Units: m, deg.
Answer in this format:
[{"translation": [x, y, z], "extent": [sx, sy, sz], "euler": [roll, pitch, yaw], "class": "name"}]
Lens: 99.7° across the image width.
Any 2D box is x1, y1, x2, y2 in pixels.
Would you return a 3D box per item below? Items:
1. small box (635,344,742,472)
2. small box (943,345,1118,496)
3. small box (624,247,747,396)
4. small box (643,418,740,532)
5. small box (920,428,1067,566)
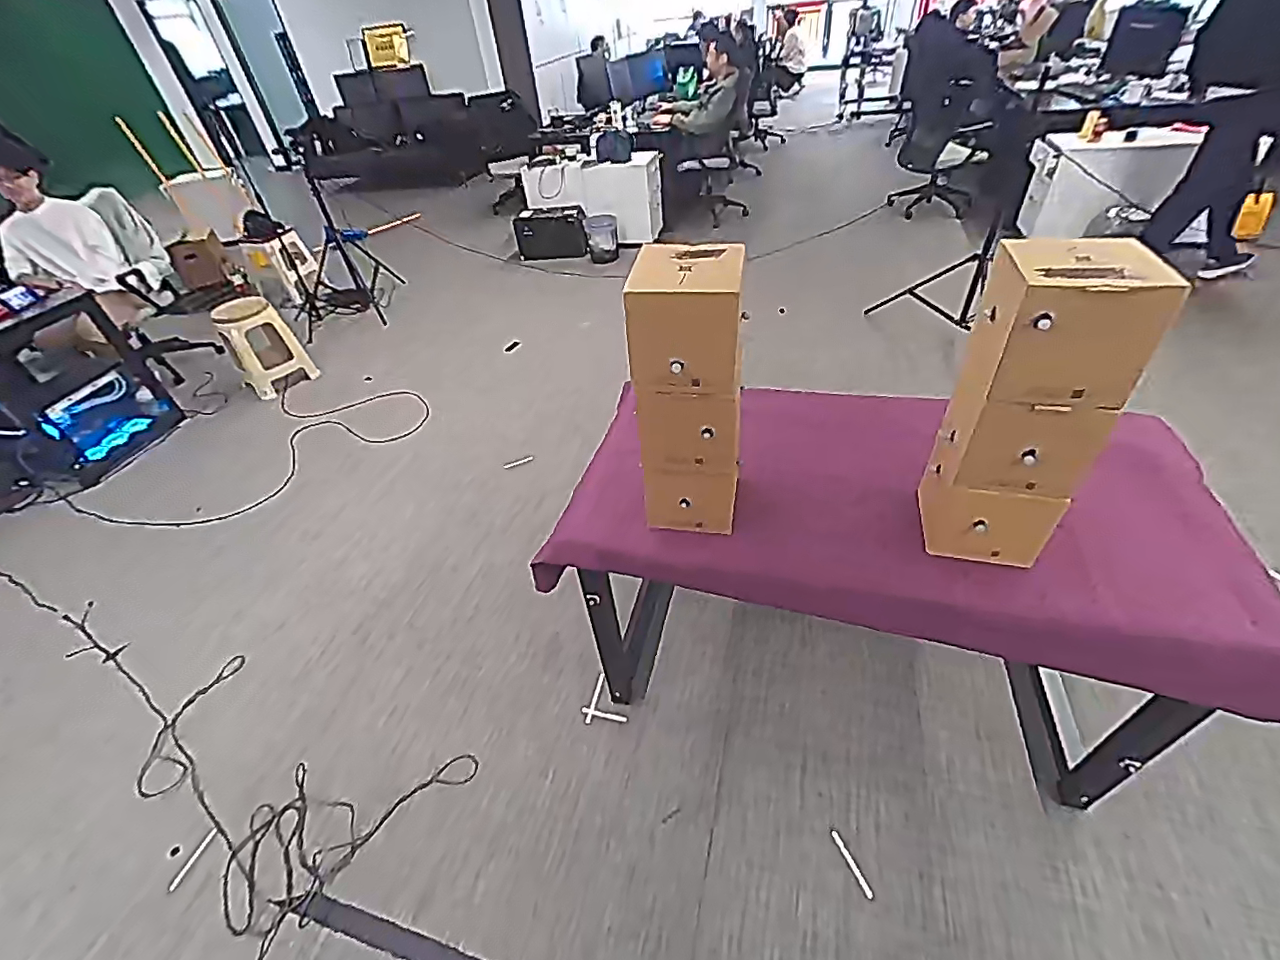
[{"translation": [0.093, -0.131, 0.964], "extent": [0.168, 0.176, 0.179], "euler": [4, 42, 10], "class": "small box"}, {"translation": [0.600, -0.095, 0.859], "extent": [0.168, 0.176, 0.179], "euler": [7, 44, 16], "class": "small box"}, {"translation": [0.077, -0.253, 0.855], "extent": [0.168, 0.176, 0.179], "euler": [4, 44, 11], "class": "small box"}, {"translation": [0.108, -0.016, 1.077], "extent": [0.168, 0.176, 0.179], "euler": [5, 42, 12], "class": "small box"}, {"translation": [0.613, 0.030, 0.964], "extent": [0.168, 0.176, 0.179], "euler": [7, 43, 15], "class": "small box"}]
